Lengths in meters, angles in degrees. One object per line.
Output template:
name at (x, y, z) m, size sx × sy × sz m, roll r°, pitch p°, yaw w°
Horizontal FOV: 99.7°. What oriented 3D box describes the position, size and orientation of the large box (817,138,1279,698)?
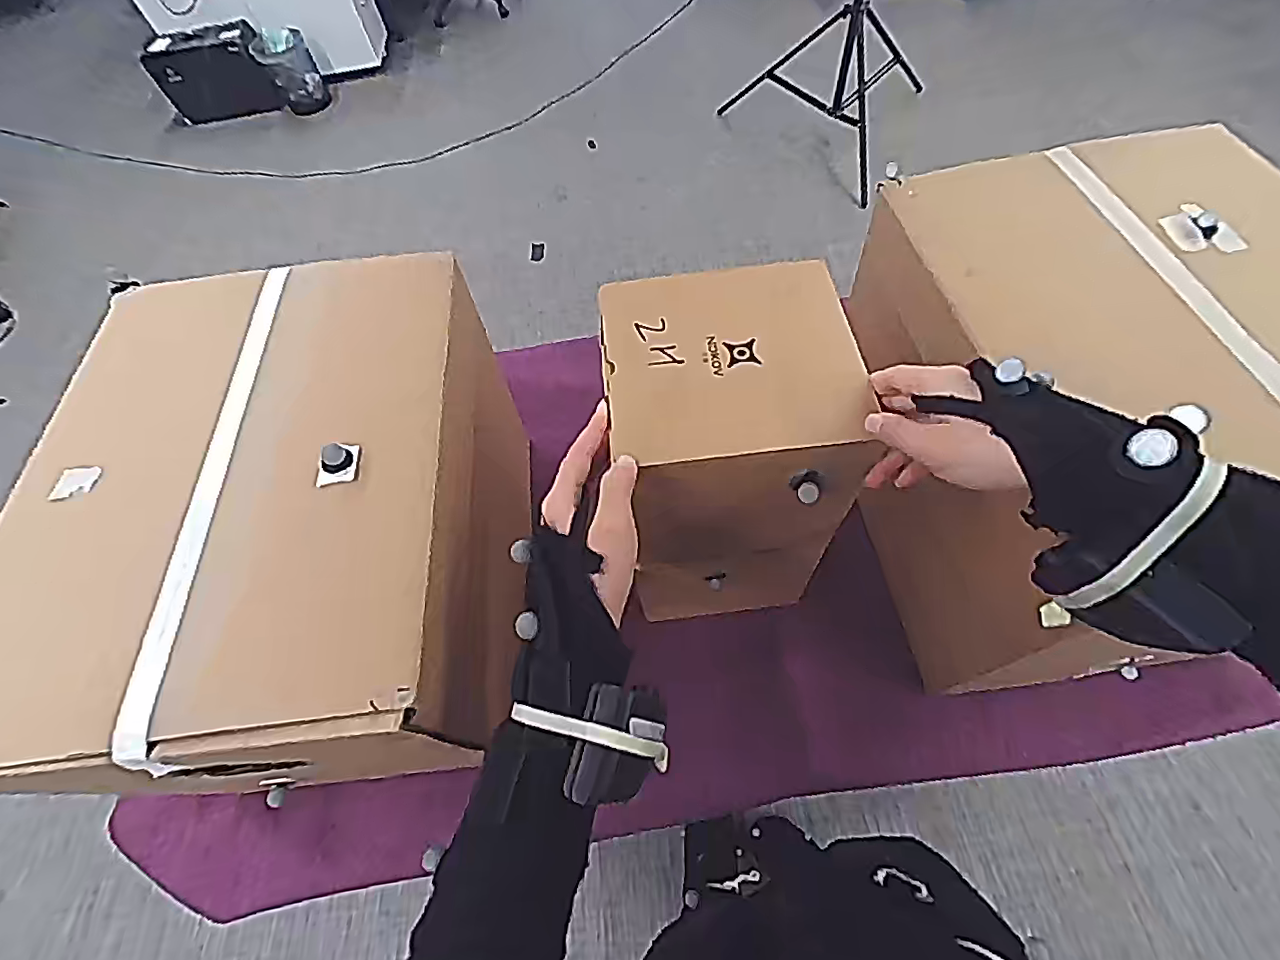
large box at (0.403, -0.047, 0.522) m, size 0.320 × 0.320 × 0.408 m, roll -9°, pitch 58°, yaw 0°
